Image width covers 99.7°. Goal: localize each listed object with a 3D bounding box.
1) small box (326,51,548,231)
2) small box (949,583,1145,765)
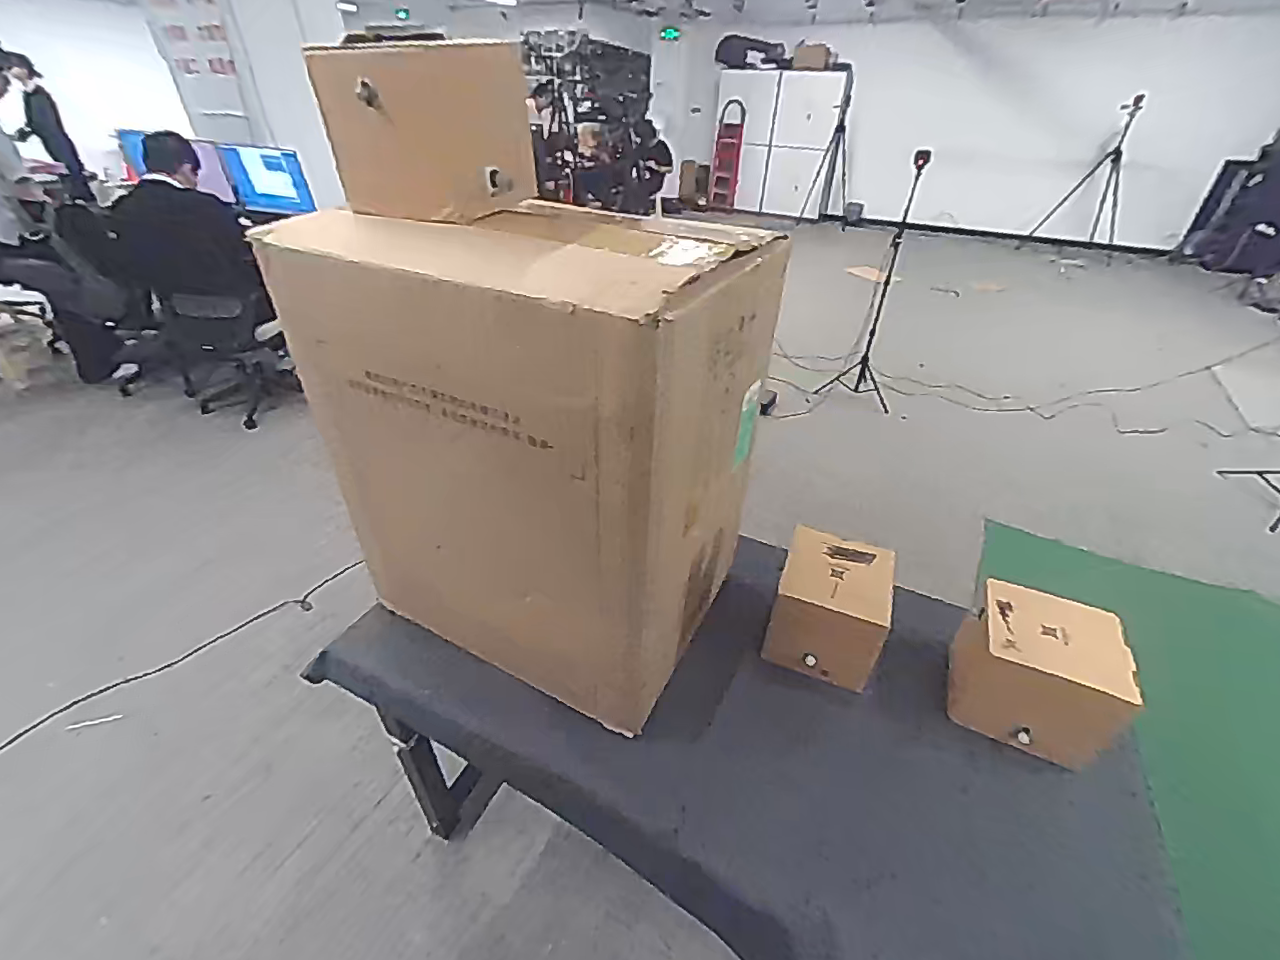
[{"bbox_3d":[-0.234,-0.419,0.667,0.179,0.176,0.168,16,43,18],"label":"small box"},{"bbox_3d":[0.597,0.293,0.818,0.179,0.176,0.168,18,38,21],"label":"small box"}]
